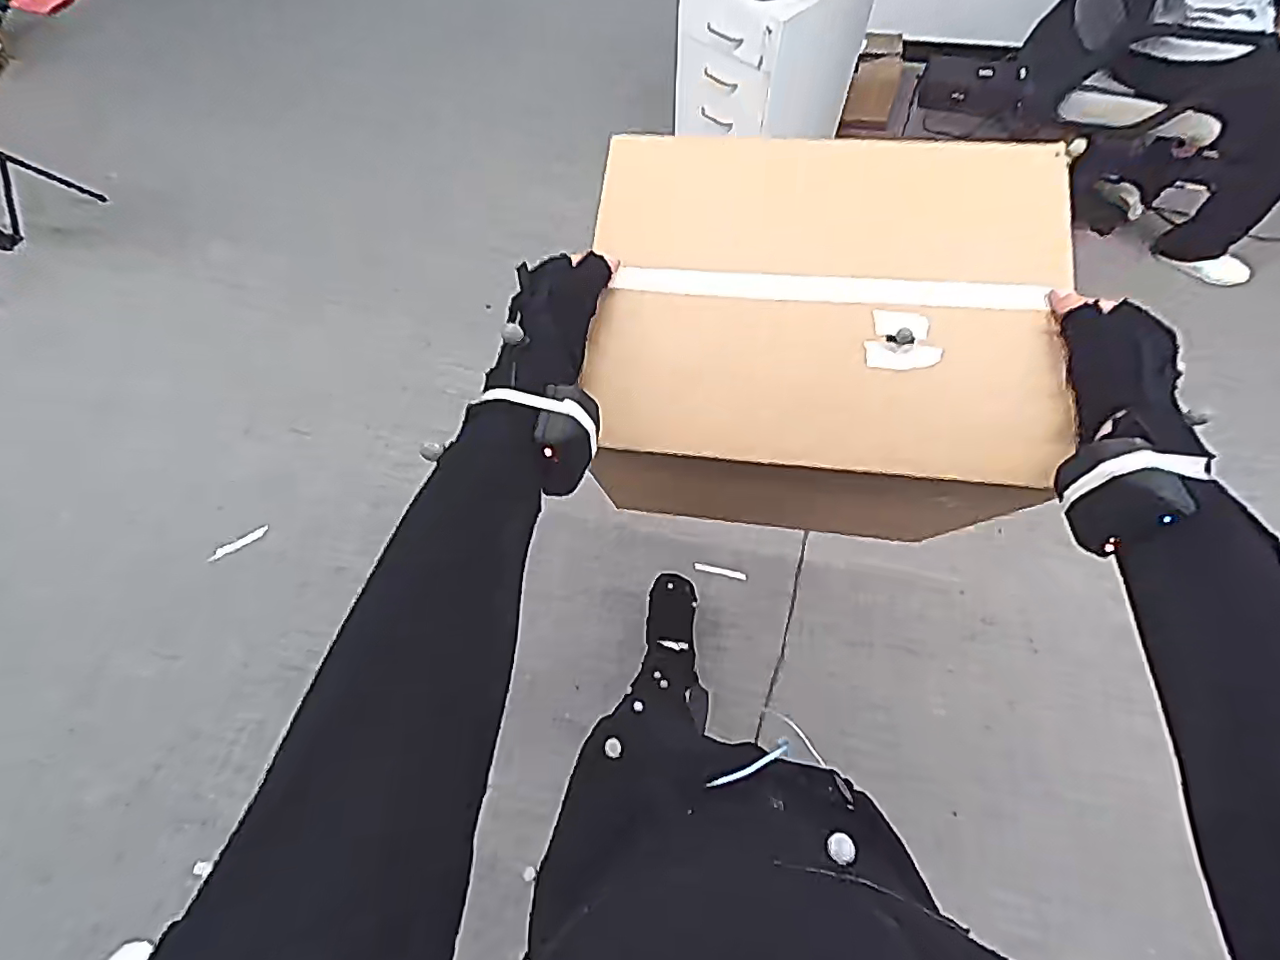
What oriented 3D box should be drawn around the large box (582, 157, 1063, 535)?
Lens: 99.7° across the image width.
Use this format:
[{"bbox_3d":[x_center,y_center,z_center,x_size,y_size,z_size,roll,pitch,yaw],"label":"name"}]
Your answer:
[{"bbox_3d":[0.172,-0.125,0.630,0.408,0.320,0.320,6,78,7],"label":"large box"}]
